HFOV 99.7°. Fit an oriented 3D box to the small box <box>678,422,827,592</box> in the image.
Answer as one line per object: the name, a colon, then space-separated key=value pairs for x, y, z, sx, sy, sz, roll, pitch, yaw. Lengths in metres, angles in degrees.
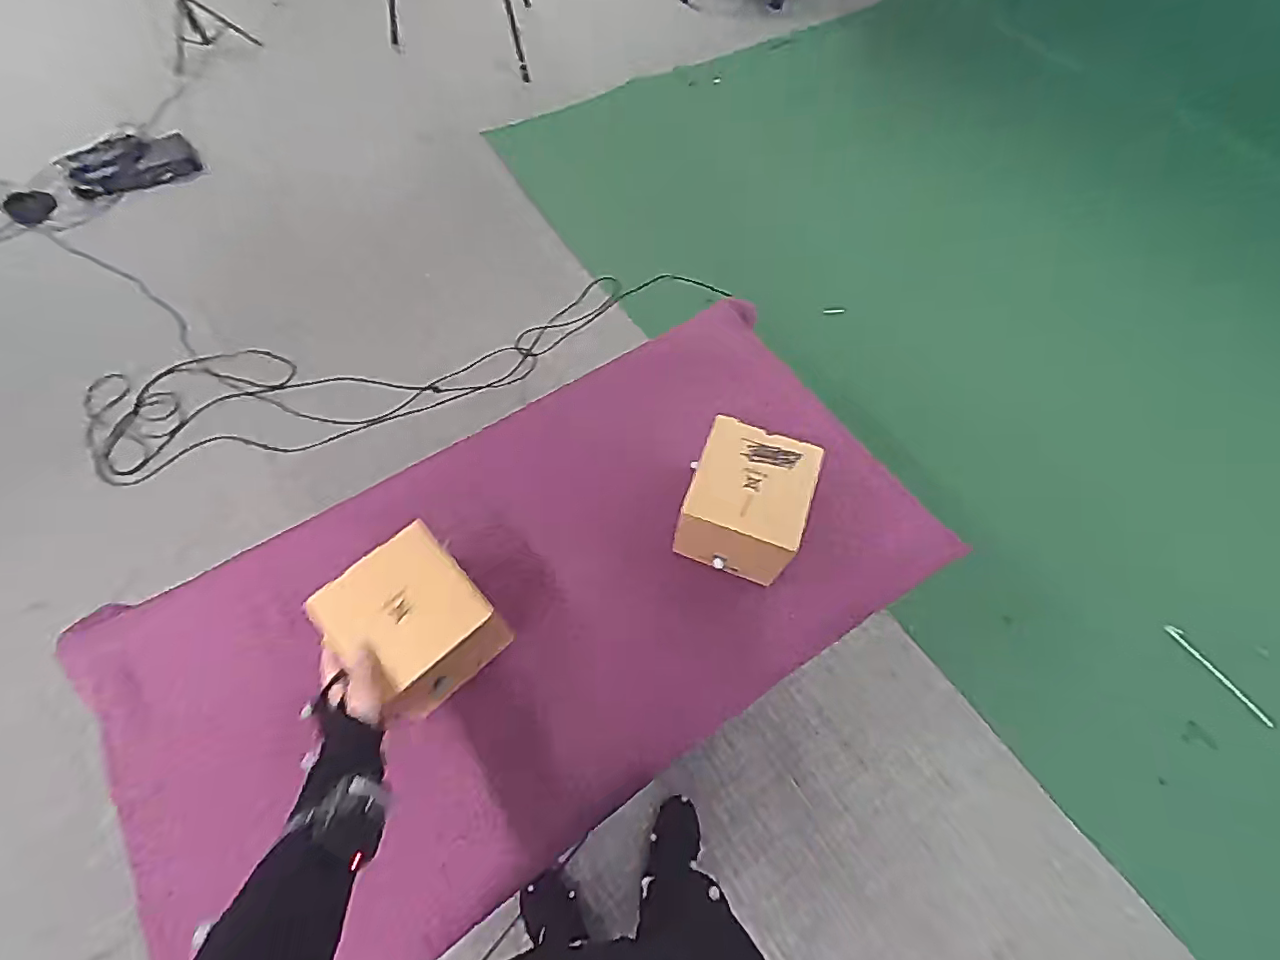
small box: x=0.164 y=0.047 z=0.830 sx=0.168 sy=0.176 sz=0.179 roll=20 pitch=64 yaw=9
